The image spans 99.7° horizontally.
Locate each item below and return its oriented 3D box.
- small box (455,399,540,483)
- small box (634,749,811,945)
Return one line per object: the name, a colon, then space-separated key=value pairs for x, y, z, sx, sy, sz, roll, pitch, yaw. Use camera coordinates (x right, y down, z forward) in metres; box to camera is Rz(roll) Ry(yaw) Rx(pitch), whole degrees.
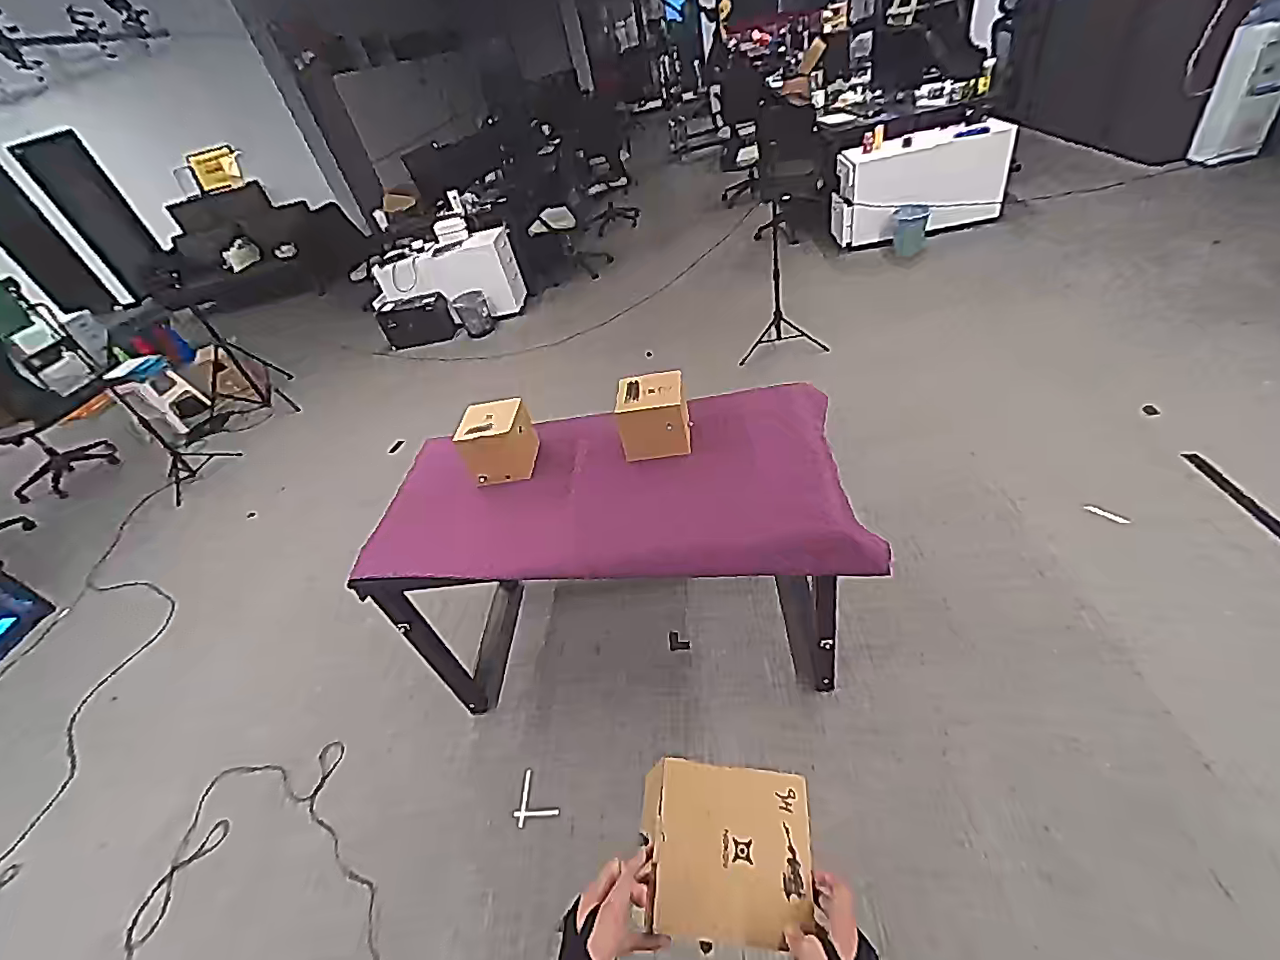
small box: x=-0.401 y=-0.106 z=1.554 sx=0.168 sy=0.176 sz=0.179 roll=-8 pitch=40 yaw=9
small box: x=0.091 y=0.445 z=0.663 sx=0.179 sy=0.176 sz=0.168 roll=9 pitch=54 yaw=-1
